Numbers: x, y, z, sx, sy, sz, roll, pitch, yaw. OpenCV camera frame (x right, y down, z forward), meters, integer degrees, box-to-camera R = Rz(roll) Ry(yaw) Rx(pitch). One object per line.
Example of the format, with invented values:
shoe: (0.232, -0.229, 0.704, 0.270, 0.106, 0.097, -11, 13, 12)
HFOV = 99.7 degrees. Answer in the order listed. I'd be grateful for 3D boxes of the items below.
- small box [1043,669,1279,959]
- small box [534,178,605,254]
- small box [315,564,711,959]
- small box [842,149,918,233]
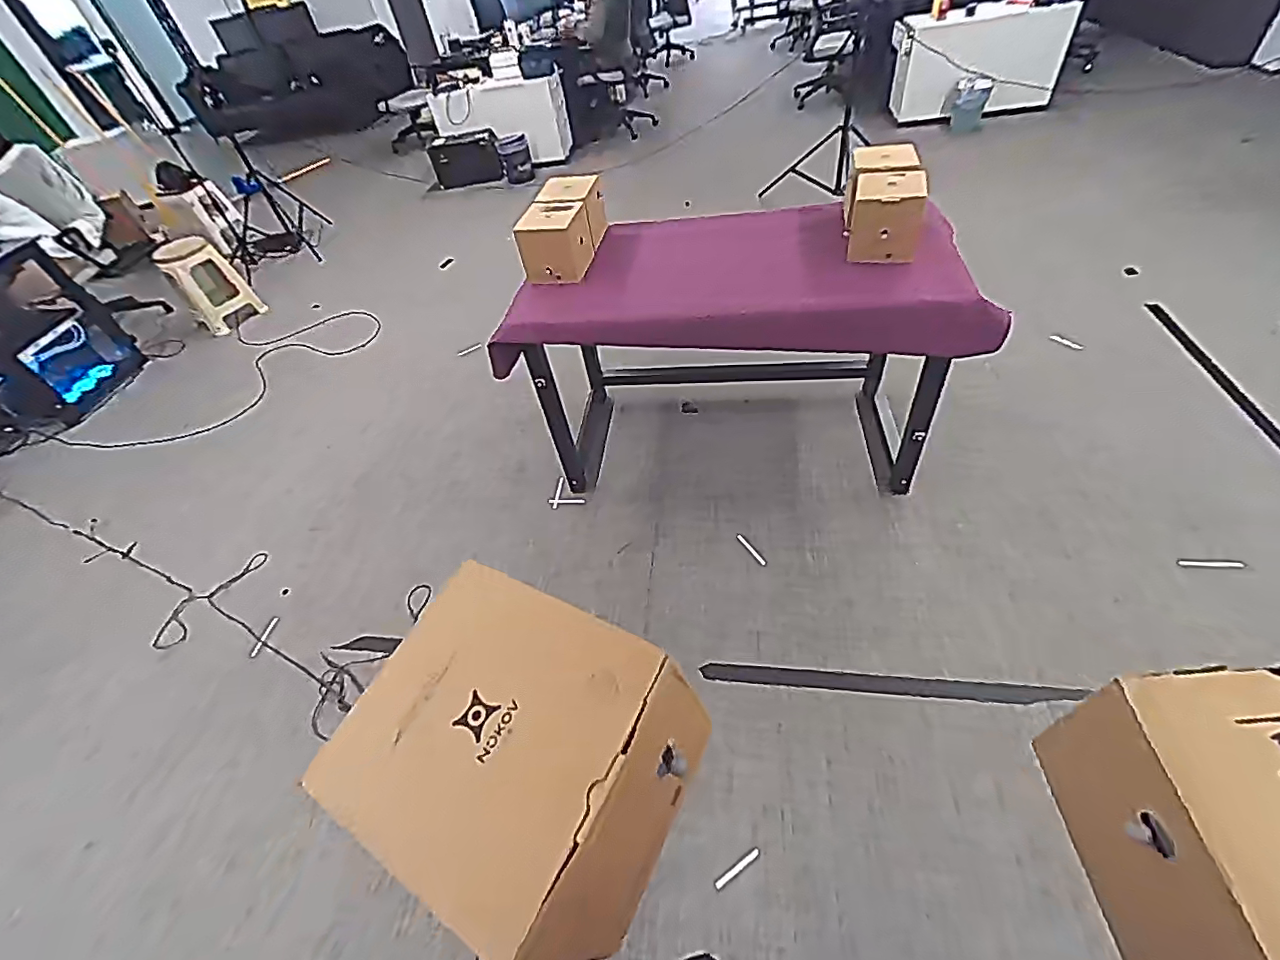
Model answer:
small box: (0.381, 0.223, 0.315, 0.168, 0.176, 0.179, -10, 52, 11)
small box: (-0.217, -0.845, 1.734, 0.168, 0.176, 0.179, 3, 50, 13)
small box: (-0.066, 0.191, 0.381, 0.179, 0.176, 0.168, 16, 59, 29)
small box: (0.686, -0.835, 1.566, 0.168, 0.176, 0.179, 4, 48, 13)
